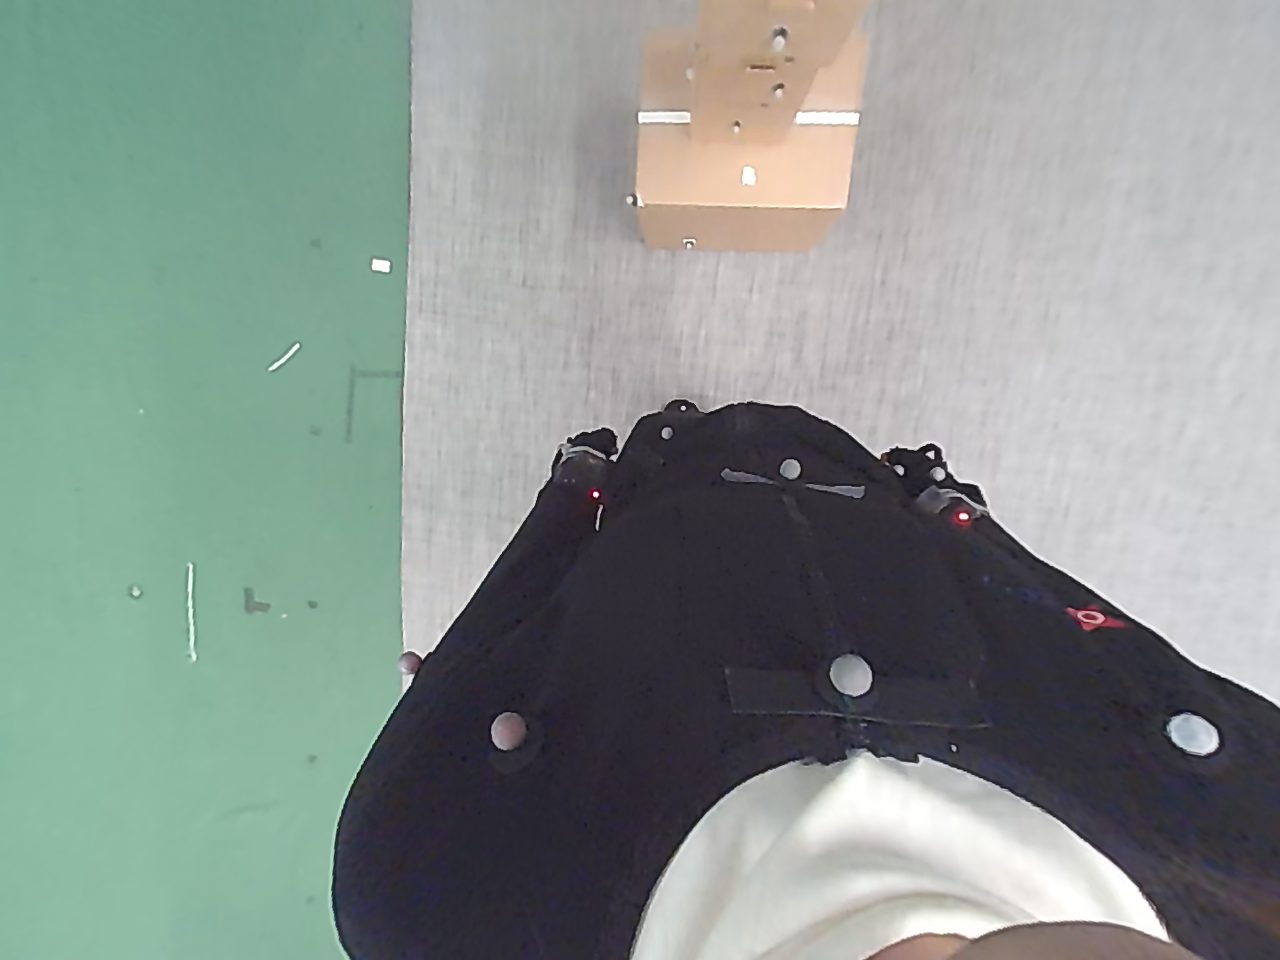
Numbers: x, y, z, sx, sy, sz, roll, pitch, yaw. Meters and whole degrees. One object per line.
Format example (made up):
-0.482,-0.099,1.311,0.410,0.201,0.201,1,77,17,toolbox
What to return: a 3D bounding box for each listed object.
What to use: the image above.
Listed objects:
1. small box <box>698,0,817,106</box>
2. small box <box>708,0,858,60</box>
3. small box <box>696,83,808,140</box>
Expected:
0.170,-0.657,0.762,0.168,0.176,0.179,4,104,4,small box
0.167,-0.607,0.606,0.168,0.176,0.179,5,106,4,small box
0.188,-0.698,0.918,0.179,0.176,0.168,3,106,5,small box
